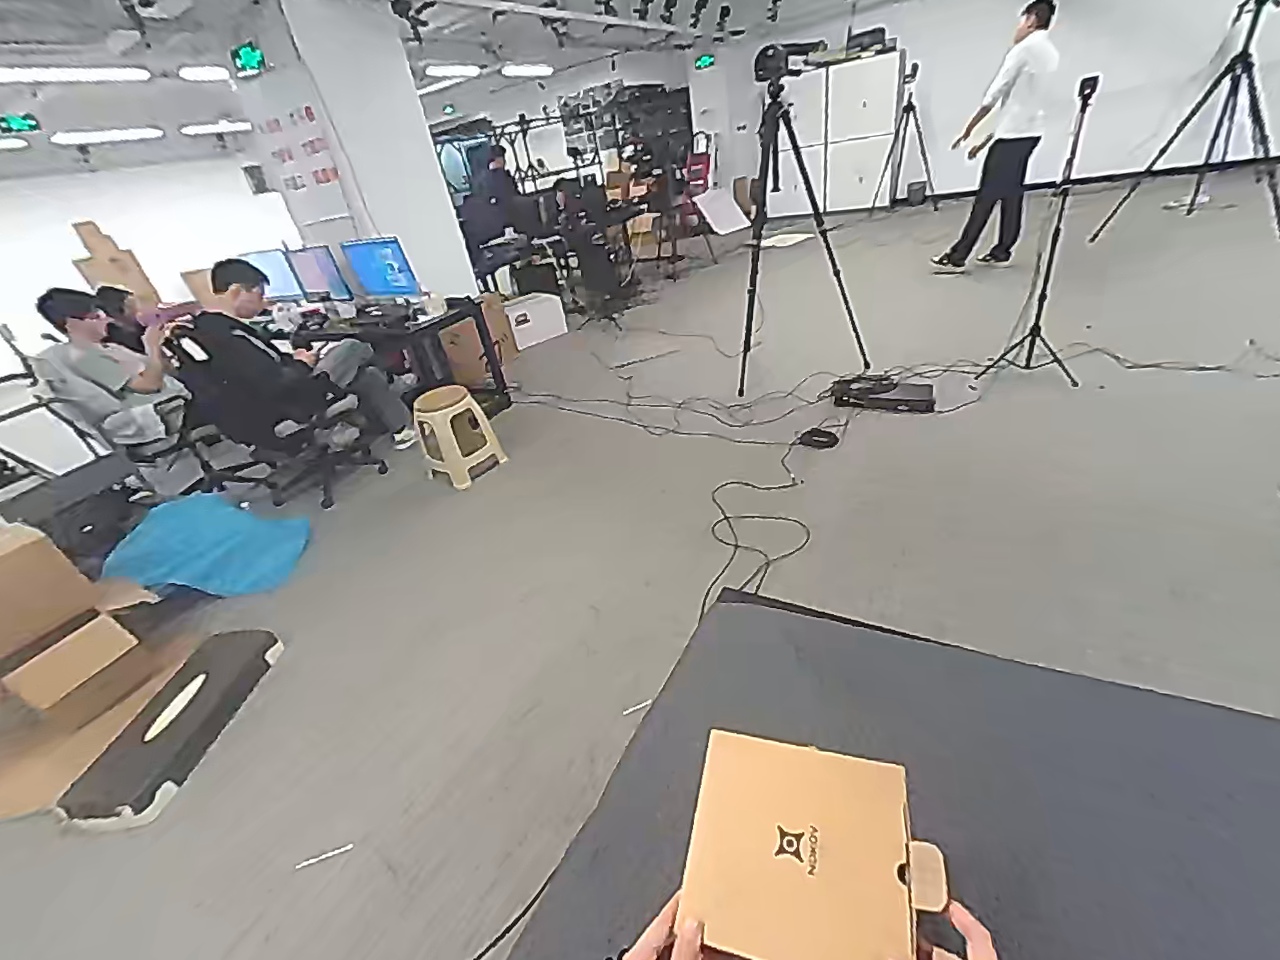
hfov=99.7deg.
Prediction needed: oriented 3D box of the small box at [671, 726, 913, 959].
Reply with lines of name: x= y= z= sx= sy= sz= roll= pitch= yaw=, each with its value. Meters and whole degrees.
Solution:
small box: x=0.143 y=0.360 z=0.498 sx=0.179 sy=0.176 sz=0.168 roll=3 pitch=41 yaw=19
